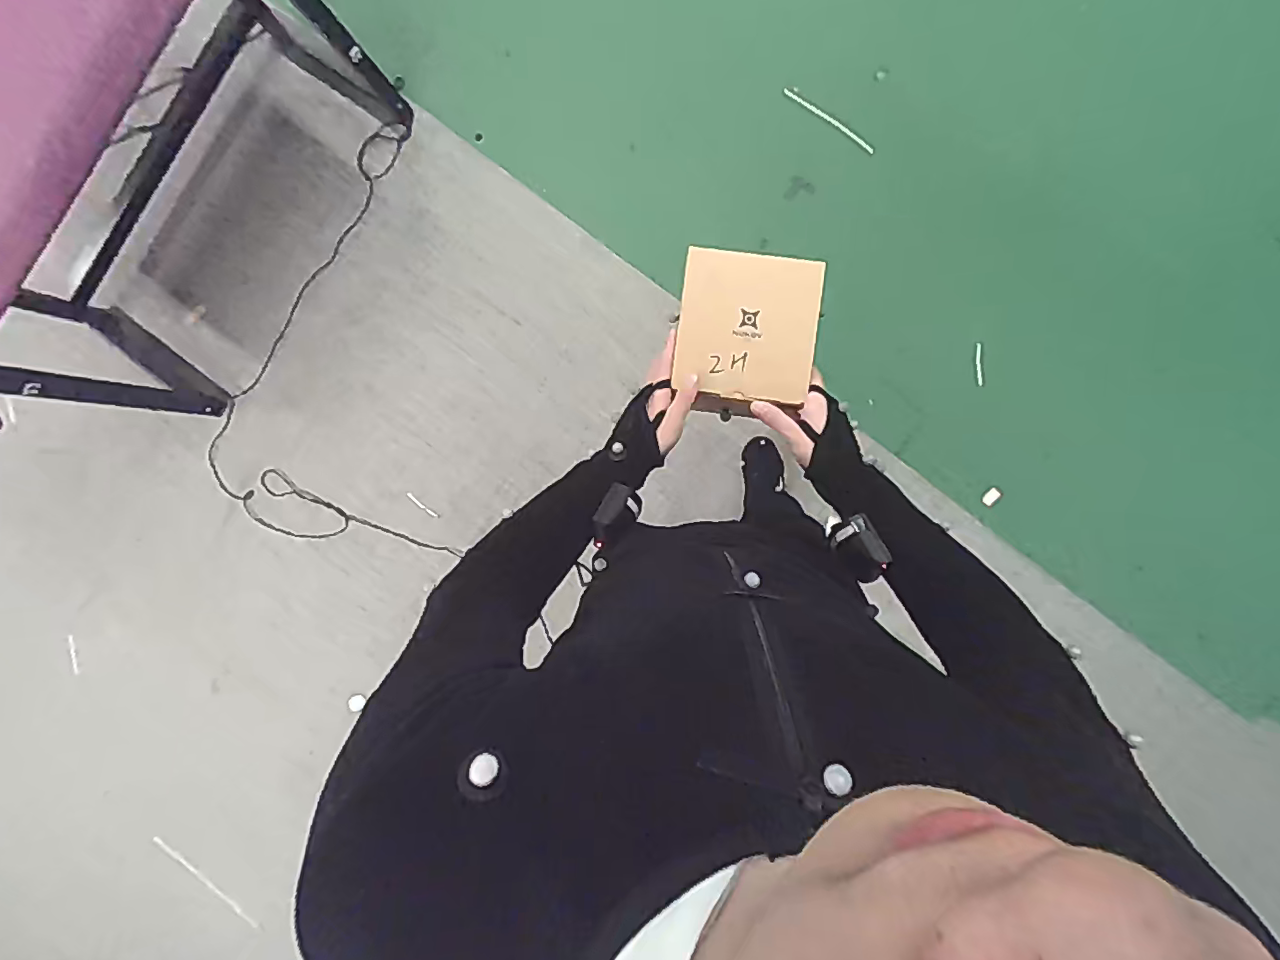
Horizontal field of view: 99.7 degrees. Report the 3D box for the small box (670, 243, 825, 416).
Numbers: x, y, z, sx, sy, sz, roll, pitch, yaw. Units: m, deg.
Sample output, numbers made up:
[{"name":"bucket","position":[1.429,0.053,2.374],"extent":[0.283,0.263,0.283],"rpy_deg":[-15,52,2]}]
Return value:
[{"name":"small box","position":[0.132,-0.188,0.724],"extent":[0.168,0.176,0.179],"rpy_deg":[7,91,2]}]
